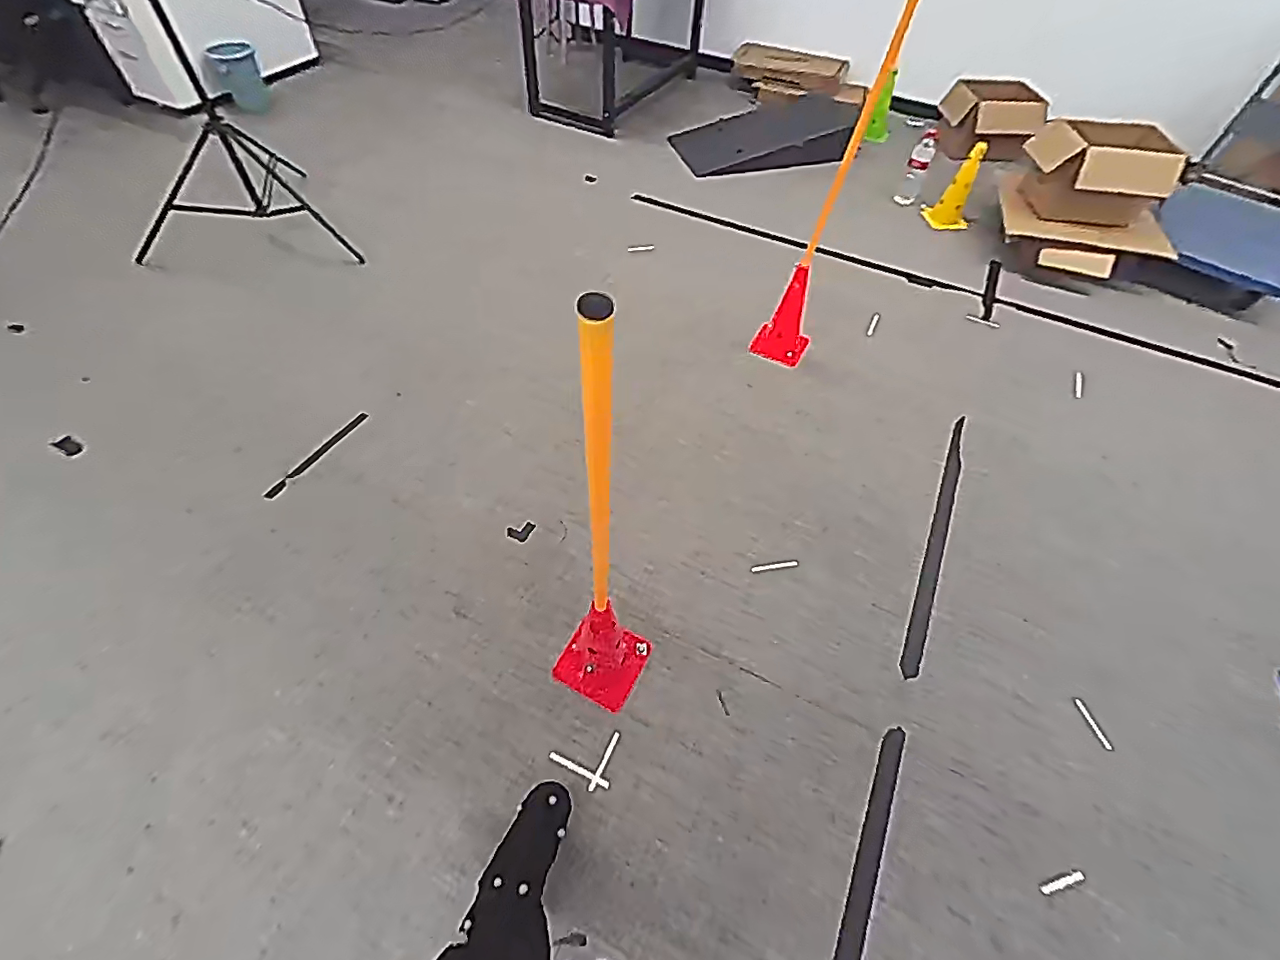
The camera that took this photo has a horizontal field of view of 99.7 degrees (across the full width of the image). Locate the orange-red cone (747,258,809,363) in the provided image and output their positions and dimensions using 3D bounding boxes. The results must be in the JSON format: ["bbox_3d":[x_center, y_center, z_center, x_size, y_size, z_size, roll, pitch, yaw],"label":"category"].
[{"bbox_3d":[0.551,-0.649,1.996,0.198,0.360,0.199,26,56,15],"label":"orange-red cone"}]
